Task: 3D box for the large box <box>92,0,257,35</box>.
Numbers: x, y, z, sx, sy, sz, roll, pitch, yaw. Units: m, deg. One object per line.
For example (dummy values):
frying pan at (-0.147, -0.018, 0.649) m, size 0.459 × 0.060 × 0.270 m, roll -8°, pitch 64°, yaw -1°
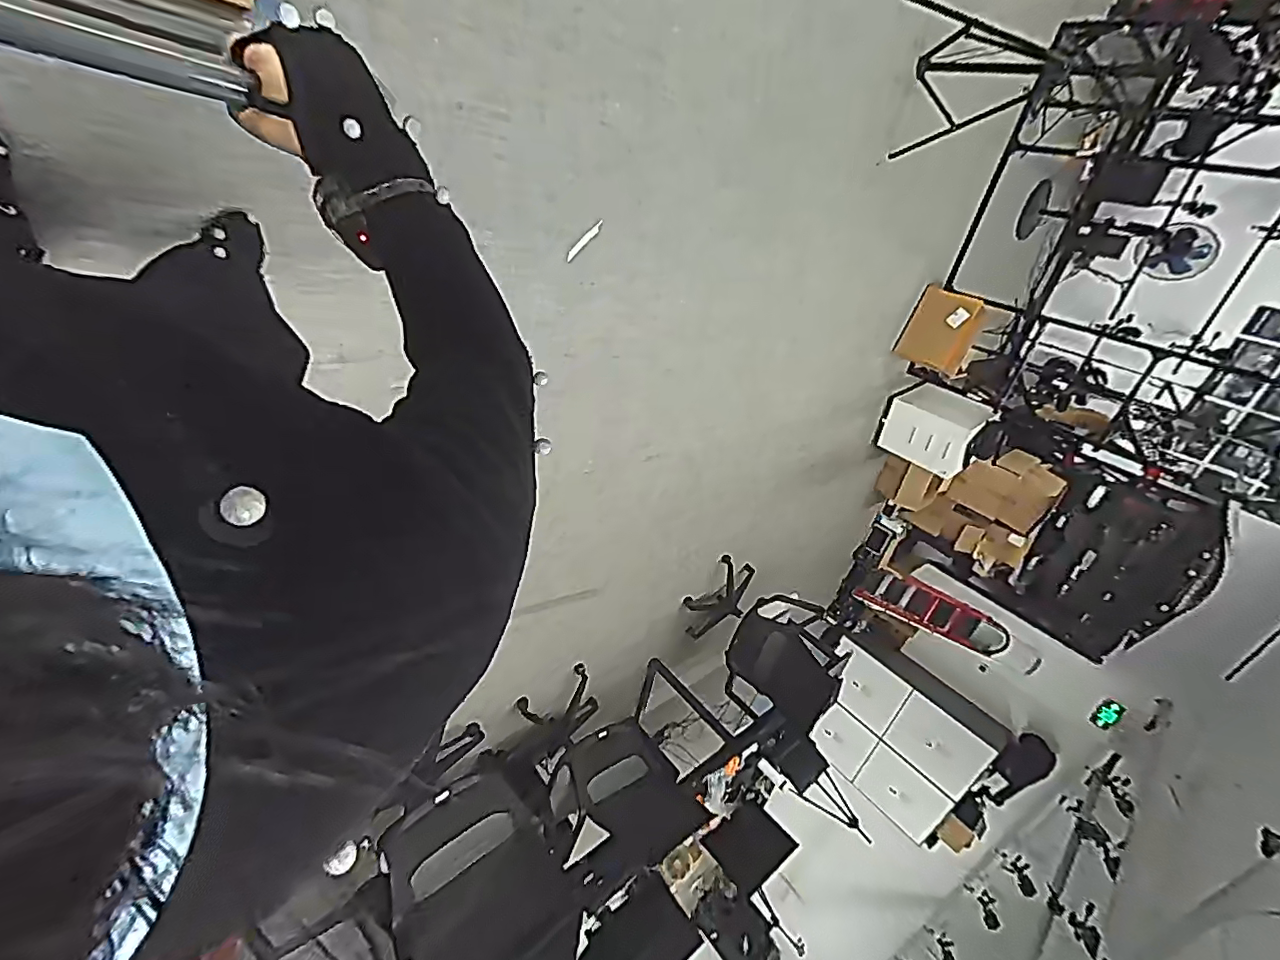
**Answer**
large box at (-0.677, -0.722, 0.548) m, size 0.408 × 0.320 × 0.320 m, roll -12°, pitch 125°, yaw -43°
